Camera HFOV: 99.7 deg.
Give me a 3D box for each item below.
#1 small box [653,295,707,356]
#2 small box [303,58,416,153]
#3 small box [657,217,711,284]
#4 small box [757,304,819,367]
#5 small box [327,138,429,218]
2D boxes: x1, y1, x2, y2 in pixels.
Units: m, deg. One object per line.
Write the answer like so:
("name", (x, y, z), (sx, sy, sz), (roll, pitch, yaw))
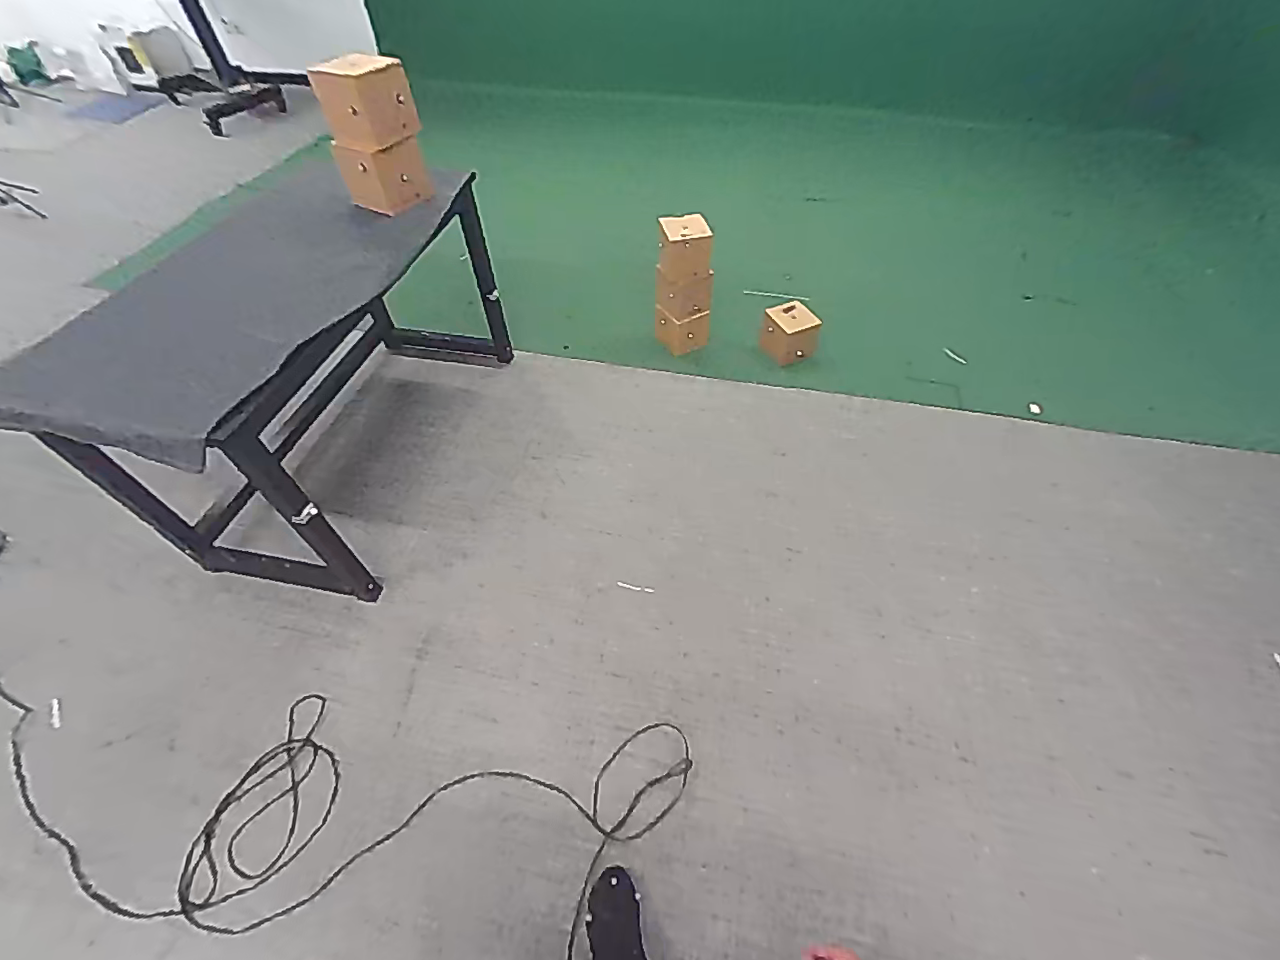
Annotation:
("small box", (0.170, -0.652, 2.303), (0.168, 0.176, 0.179), (-26, 55, -19))
("small box", (-0.737, -0.997, 1.444), (0.179, 0.176, 0.168), (20, 53, 19))
("small box", (0.161, -0.874, 2.061), (0.168, 0.176, 0.179), (-11, 52, -7))
("small box", (0.609, -0.601, 2.251), (0.168, 0.176, 0.179), (-21, 55, -15))
("small box", (-0.746, -0.882, 1.560), (0.179, 0.176, 0.168), (24, 55, 22))
